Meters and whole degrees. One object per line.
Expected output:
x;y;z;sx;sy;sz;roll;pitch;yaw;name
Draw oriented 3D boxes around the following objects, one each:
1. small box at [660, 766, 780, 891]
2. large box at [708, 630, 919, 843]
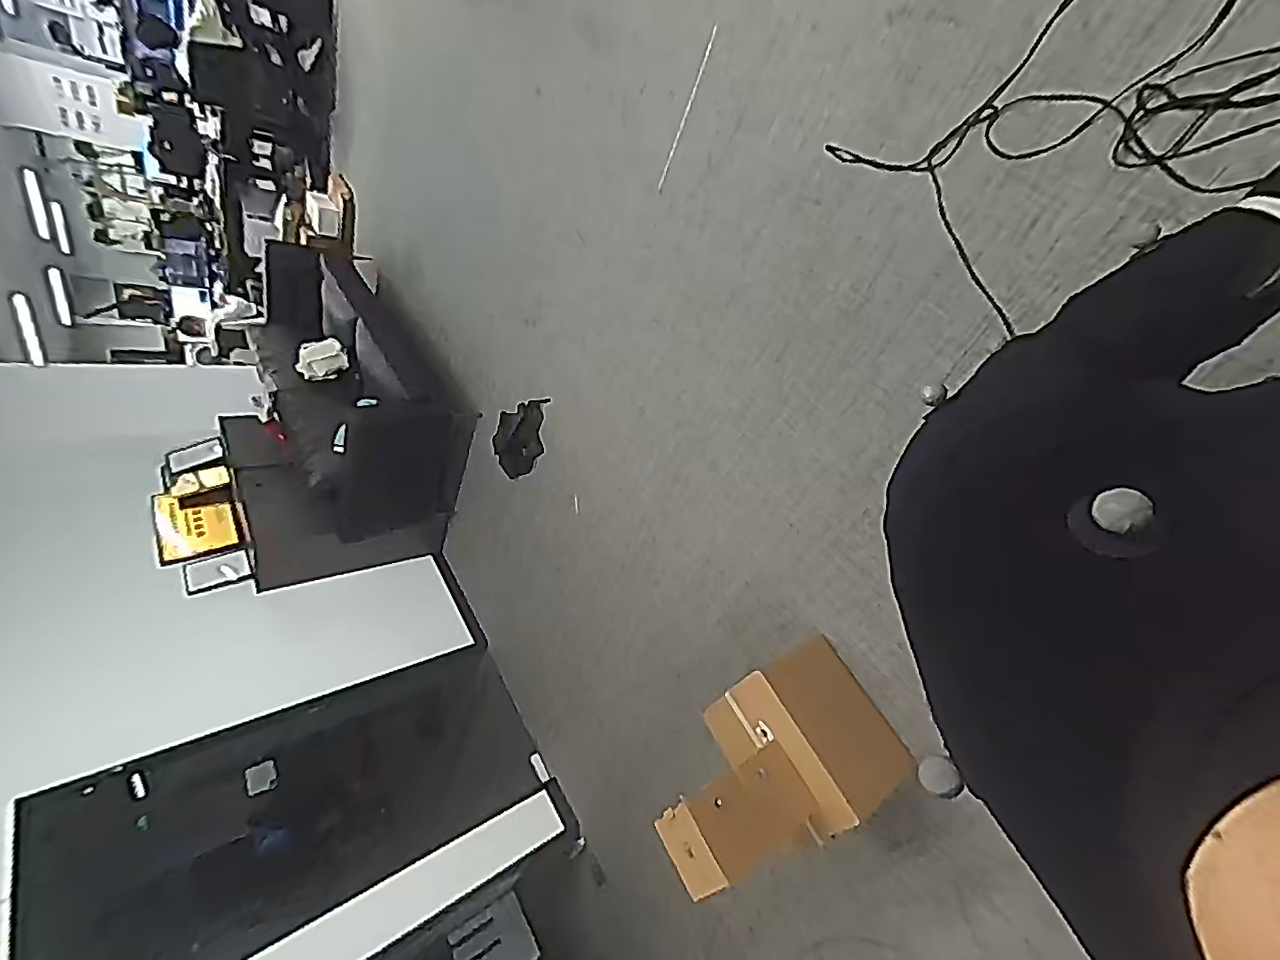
0.184;0.796;1.254;0.179;0.176;0.168;54;135;29;small box
0.477;0.706;1.525;0.408;0.320;0.320;57;134;27;large box
